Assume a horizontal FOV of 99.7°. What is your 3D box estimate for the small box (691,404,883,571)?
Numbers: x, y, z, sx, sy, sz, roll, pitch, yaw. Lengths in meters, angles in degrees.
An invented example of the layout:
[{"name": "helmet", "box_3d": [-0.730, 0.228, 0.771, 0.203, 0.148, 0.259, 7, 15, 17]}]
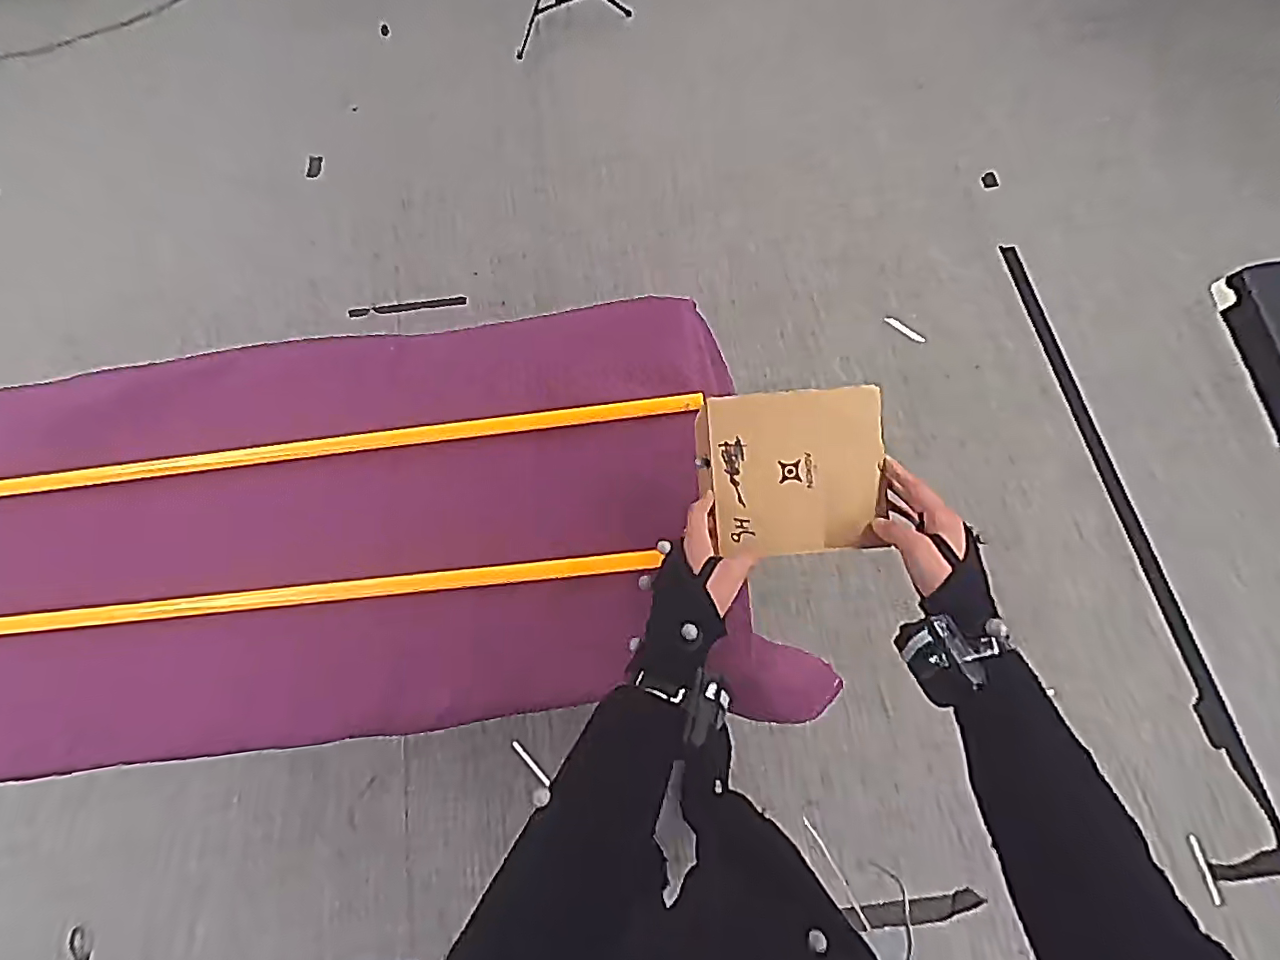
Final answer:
[{"name": "small box", "box_3d": [0.158, 0.007, 0.631, 0.179, 0.176, 0.168, -4, 90, 2]}]
